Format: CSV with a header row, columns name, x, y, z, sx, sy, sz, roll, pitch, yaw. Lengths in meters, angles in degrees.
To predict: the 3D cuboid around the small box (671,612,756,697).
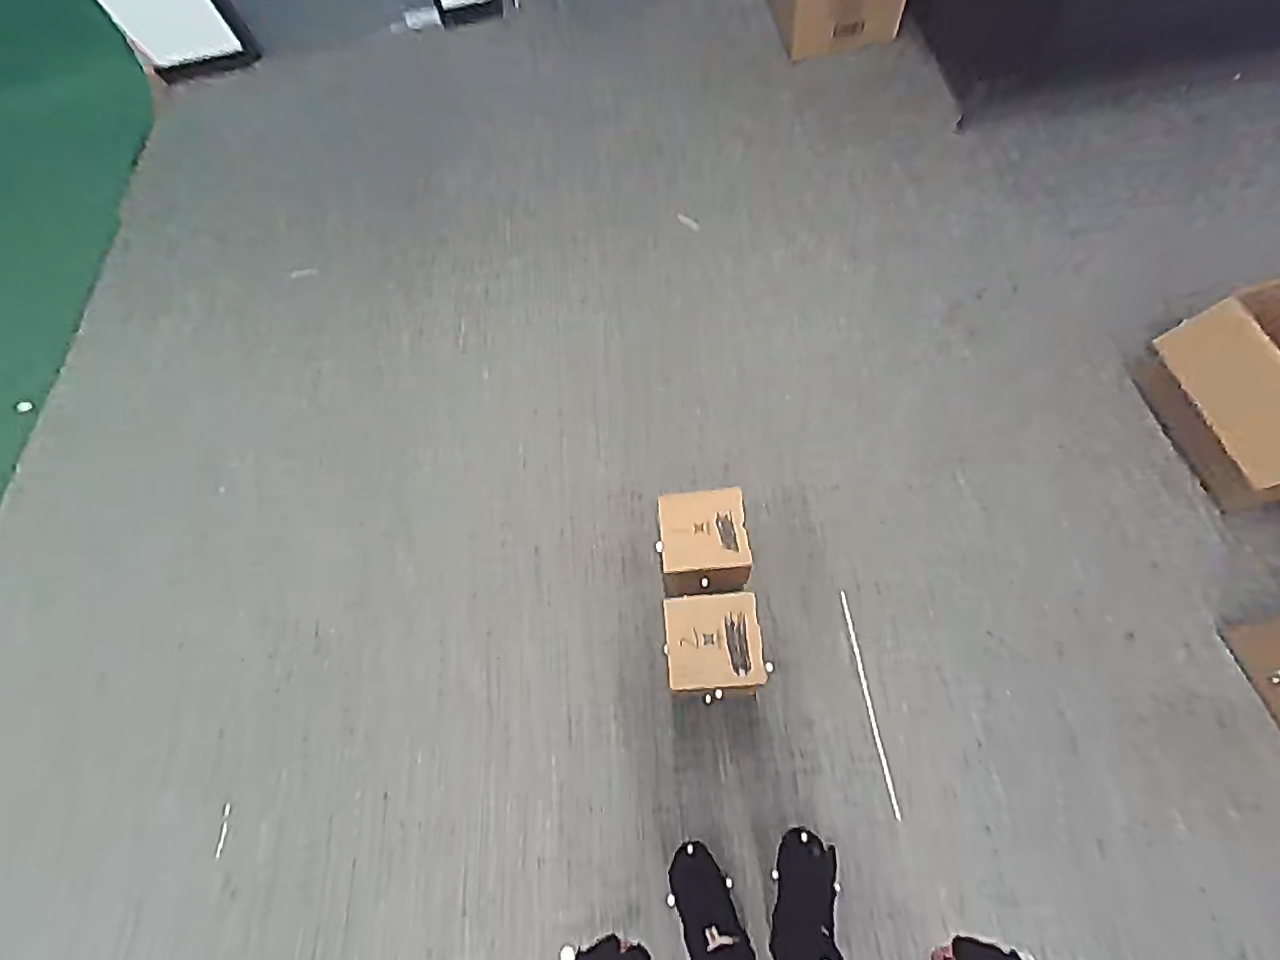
name,x,y,z,sx,sy,sz,roll,pitch,yaw
small box,0.164,0.393,1.210,0.179,0.176,0.168,-2,66,7
